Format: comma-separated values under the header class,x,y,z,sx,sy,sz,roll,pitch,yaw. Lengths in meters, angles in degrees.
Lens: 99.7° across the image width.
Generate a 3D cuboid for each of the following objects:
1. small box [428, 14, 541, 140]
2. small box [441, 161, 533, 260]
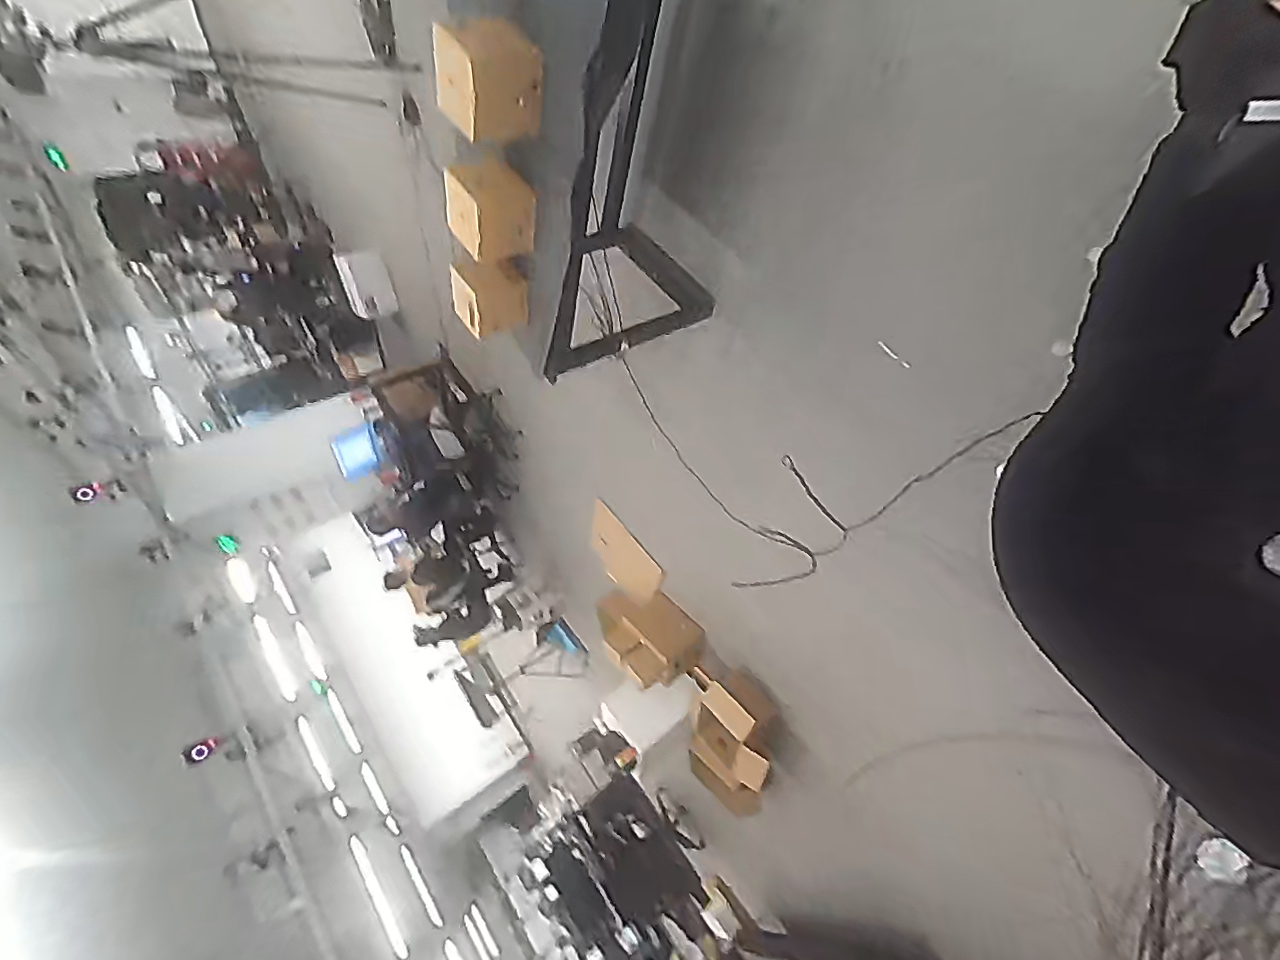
class,x,y,z,sx,sy,sz,roll,pitch,yaw
small box,-0.338,-0.876,1.179,0.179,0.176,0.168,51,149,18
small box,-0.402,-0.712,1.420,0.179,0.176,0.168,50,148,19
